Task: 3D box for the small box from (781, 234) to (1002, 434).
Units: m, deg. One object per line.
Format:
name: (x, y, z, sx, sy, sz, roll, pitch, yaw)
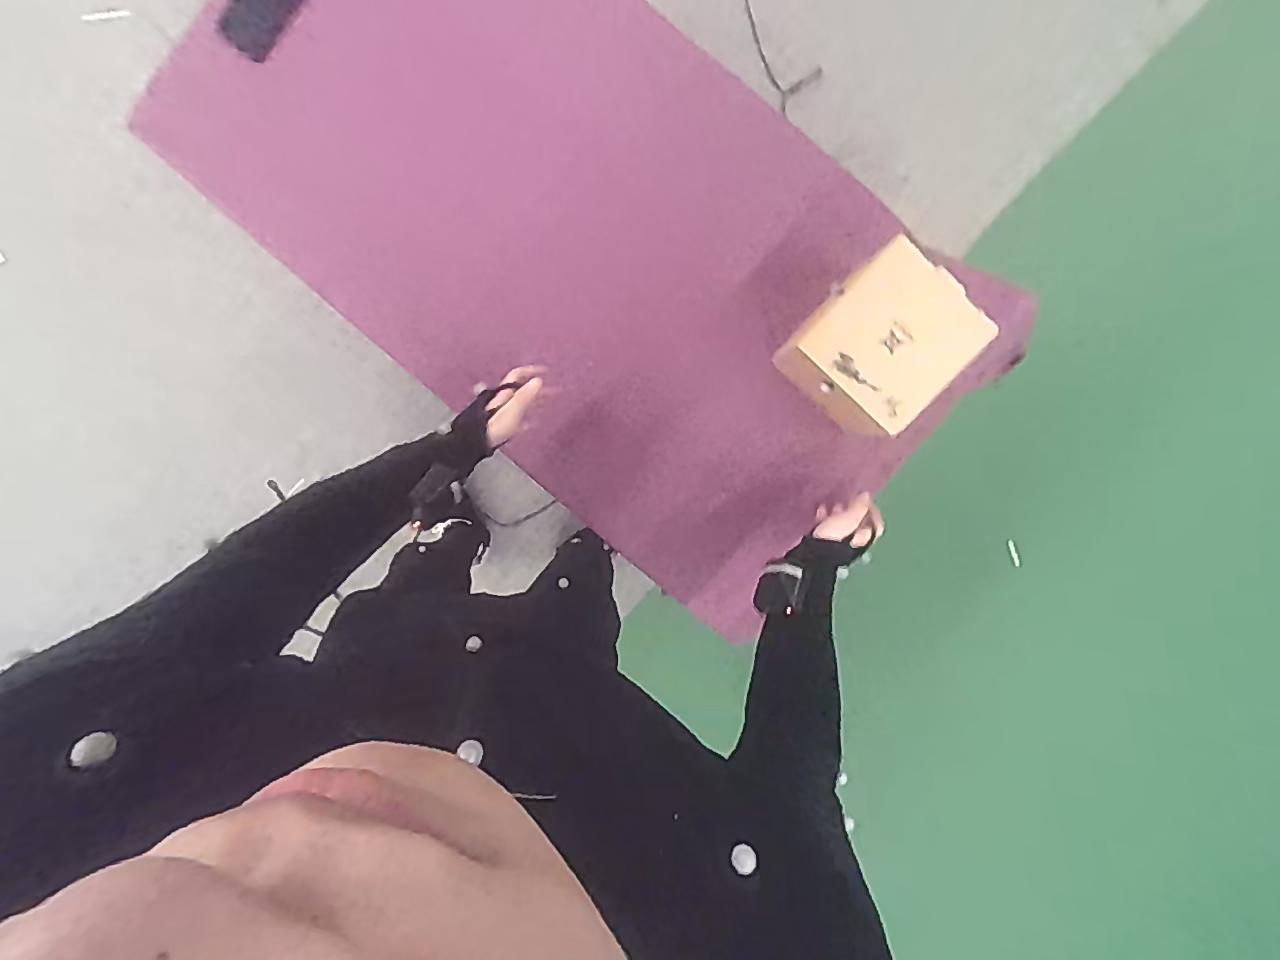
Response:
small box: (0.312, -0.179, 0.716, 0.168, 0.176, 0.179, 43, 97, -1)
